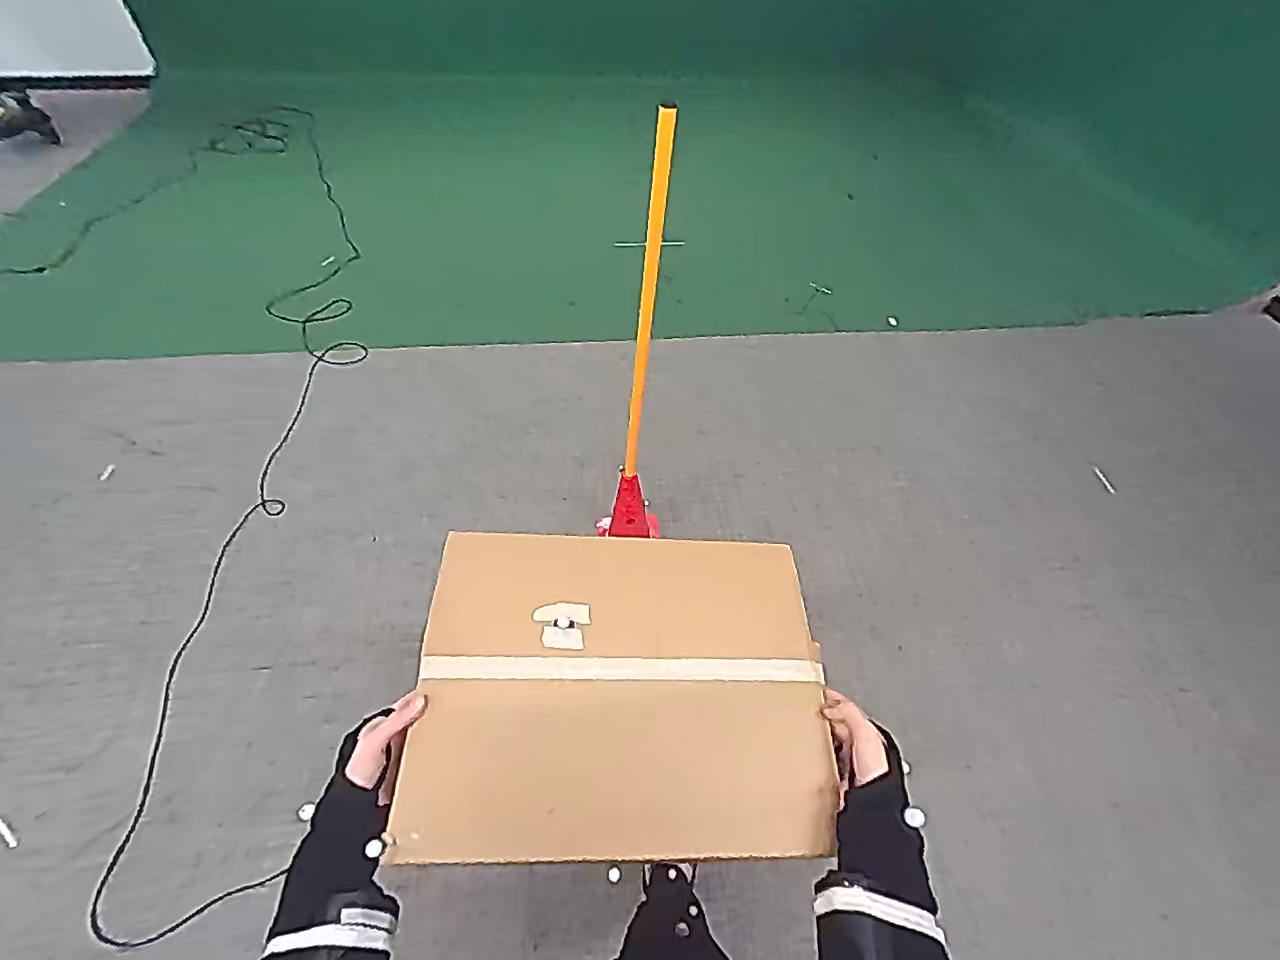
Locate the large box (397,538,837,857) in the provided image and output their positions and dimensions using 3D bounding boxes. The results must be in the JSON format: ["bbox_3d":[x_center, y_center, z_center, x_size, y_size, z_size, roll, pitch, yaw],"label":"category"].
[{"bbox_3d":[-0.029,0.284,0.687,0.408,0.320,0.320,3,54,-5],"label":"large box"}]
